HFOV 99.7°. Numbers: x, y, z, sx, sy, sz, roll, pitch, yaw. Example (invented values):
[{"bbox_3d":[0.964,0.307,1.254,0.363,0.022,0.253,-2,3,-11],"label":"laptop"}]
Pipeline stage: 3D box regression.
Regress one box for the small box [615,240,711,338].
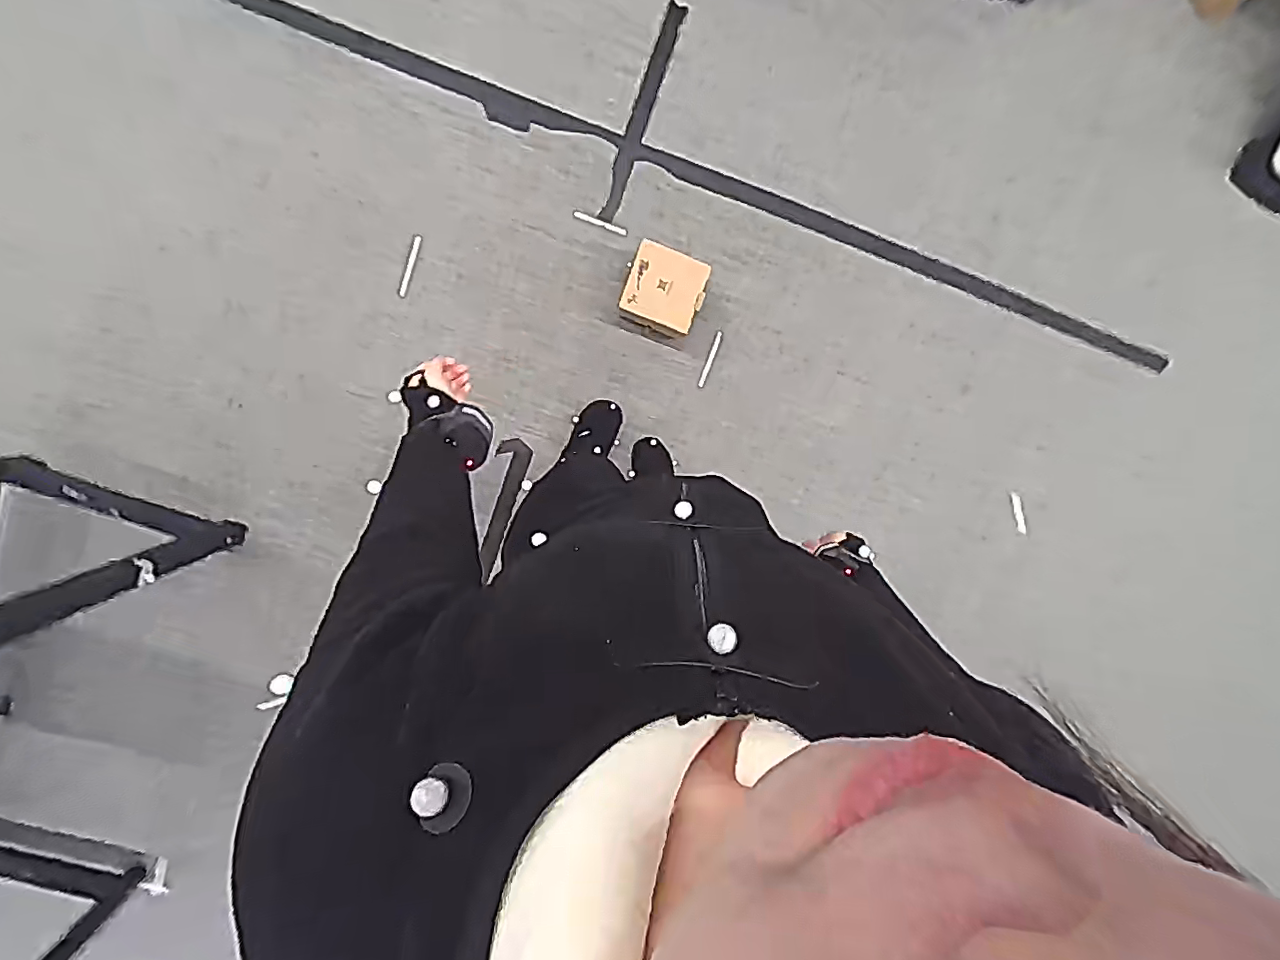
[{"bbox_3d":[0.049,-0.456,1.321,0.179,0.176,0.168,21,98,-8],"label":"small box"}]
